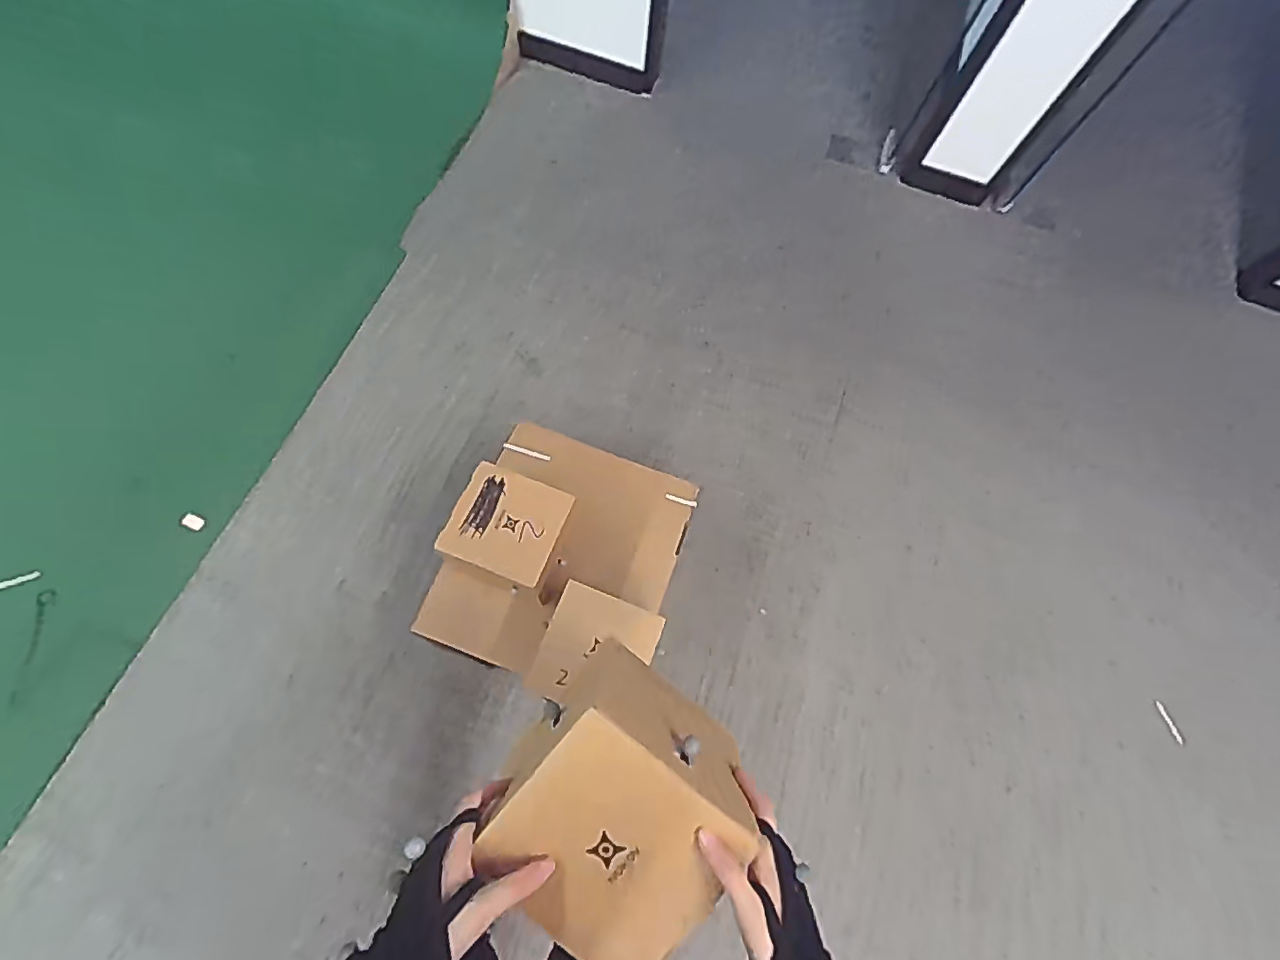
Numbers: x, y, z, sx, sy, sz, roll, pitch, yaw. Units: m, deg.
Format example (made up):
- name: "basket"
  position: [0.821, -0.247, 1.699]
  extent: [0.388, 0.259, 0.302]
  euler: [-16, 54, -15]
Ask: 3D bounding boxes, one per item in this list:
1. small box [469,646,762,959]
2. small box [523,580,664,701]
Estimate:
- name: "small box"
  position: [-0.020, 0.281, 0.506]
  extent: [0.179, 0.176, 0.168]
  euler: [39, 92, -2]
- name: "small box"
  position: [-0.077, 0.287, 0.886]
  extent: [0.168, 0.176, 0.179]
  euler: [22, 69, 2]
